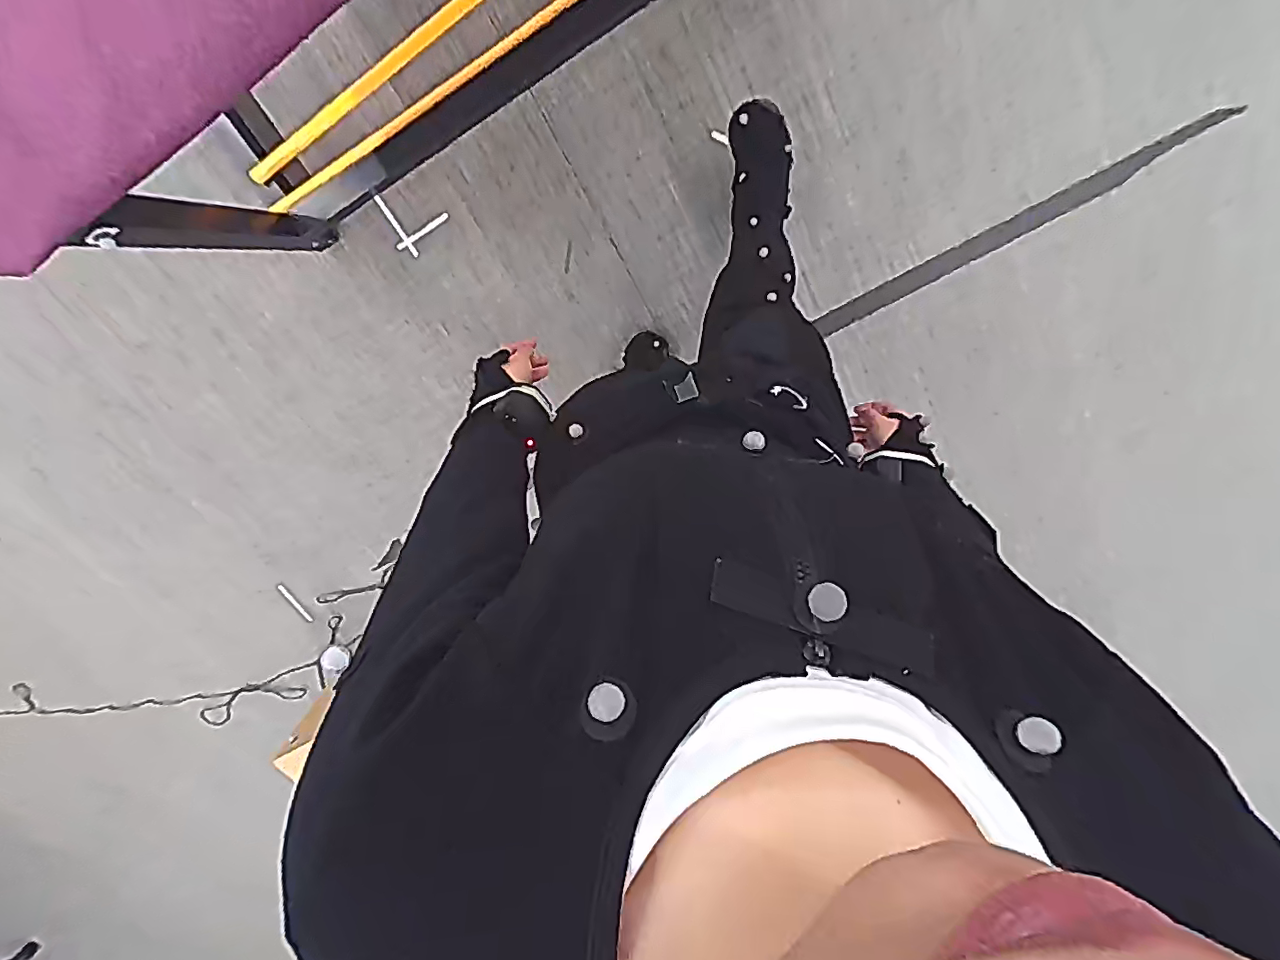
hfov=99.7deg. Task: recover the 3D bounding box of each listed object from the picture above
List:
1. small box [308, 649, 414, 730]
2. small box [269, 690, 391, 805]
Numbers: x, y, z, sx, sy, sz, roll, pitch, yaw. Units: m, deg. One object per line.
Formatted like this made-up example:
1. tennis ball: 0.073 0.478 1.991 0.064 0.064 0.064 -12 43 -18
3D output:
1. small box: -0.782 0.617 1.535 0.179 0.176 0.168 -28 109 9
2. small box: -0.780 0.677 1.381 0.179 0.176 0.168 -29 110 10
